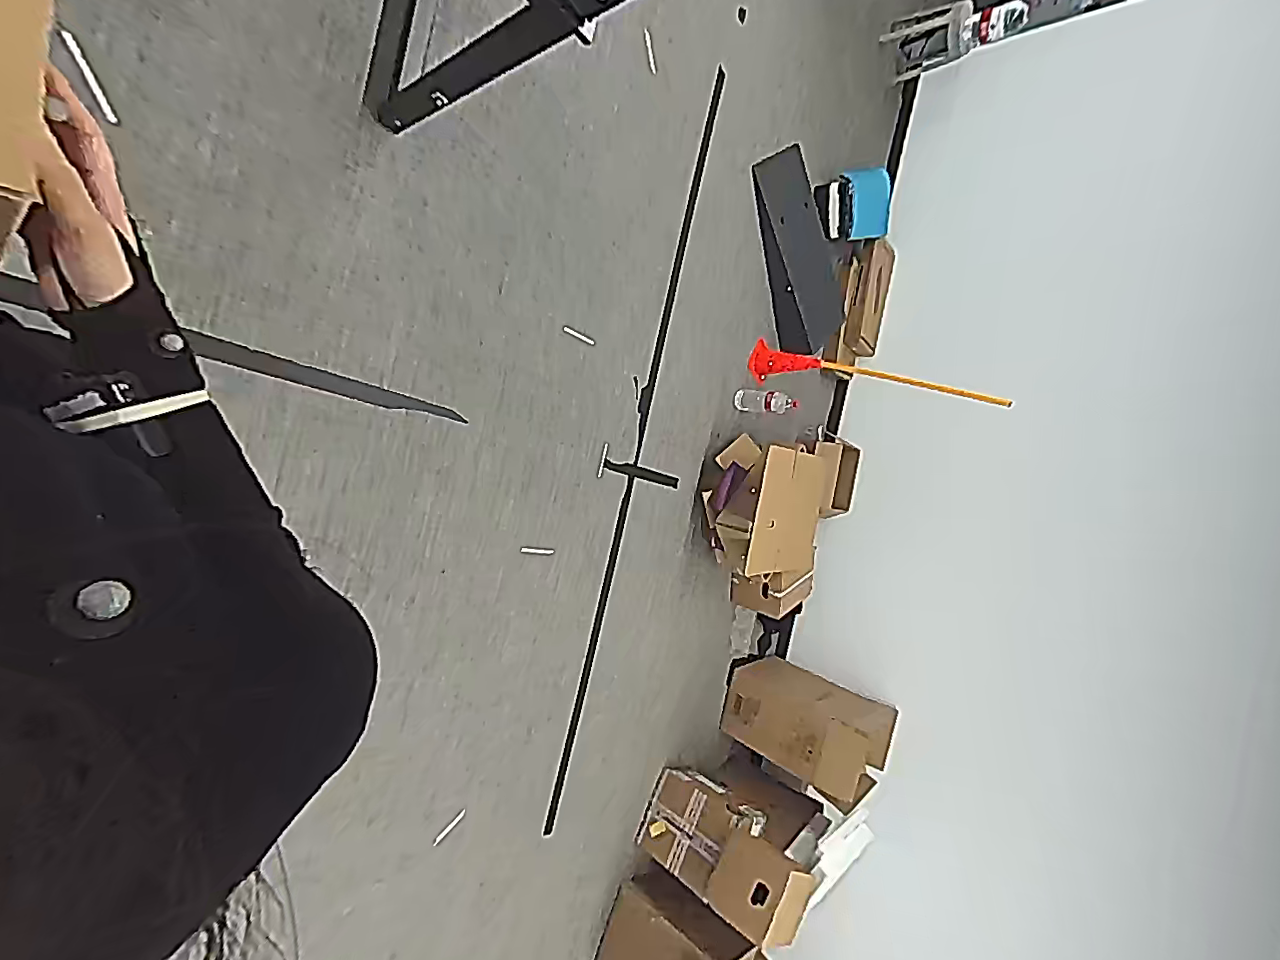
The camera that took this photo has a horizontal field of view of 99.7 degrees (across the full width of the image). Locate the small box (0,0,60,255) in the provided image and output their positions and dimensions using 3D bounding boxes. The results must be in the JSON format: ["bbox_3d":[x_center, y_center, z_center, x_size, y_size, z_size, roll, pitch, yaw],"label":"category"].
[{"bbox_3d":[-0.411,-0.224,0.255,0.168,0.176,0.179,7,81,-56],"label":"small box"}]
